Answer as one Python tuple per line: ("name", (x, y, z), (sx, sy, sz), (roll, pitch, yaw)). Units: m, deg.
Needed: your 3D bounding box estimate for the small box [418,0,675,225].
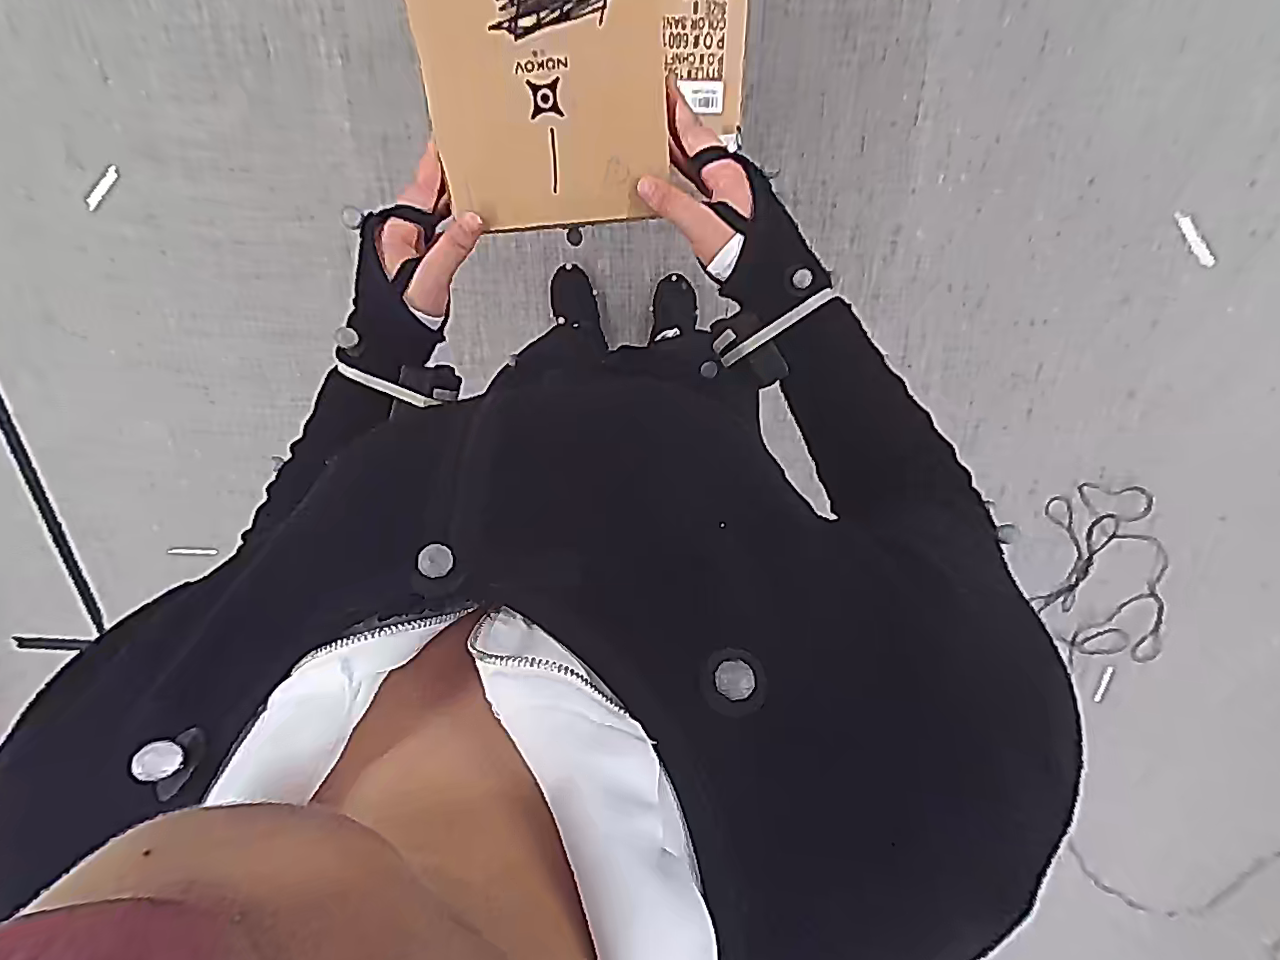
("small box", (-0.061, -0.310, 0.442), (0.168, 0.176, 0.179), (-4, 116, 2))
